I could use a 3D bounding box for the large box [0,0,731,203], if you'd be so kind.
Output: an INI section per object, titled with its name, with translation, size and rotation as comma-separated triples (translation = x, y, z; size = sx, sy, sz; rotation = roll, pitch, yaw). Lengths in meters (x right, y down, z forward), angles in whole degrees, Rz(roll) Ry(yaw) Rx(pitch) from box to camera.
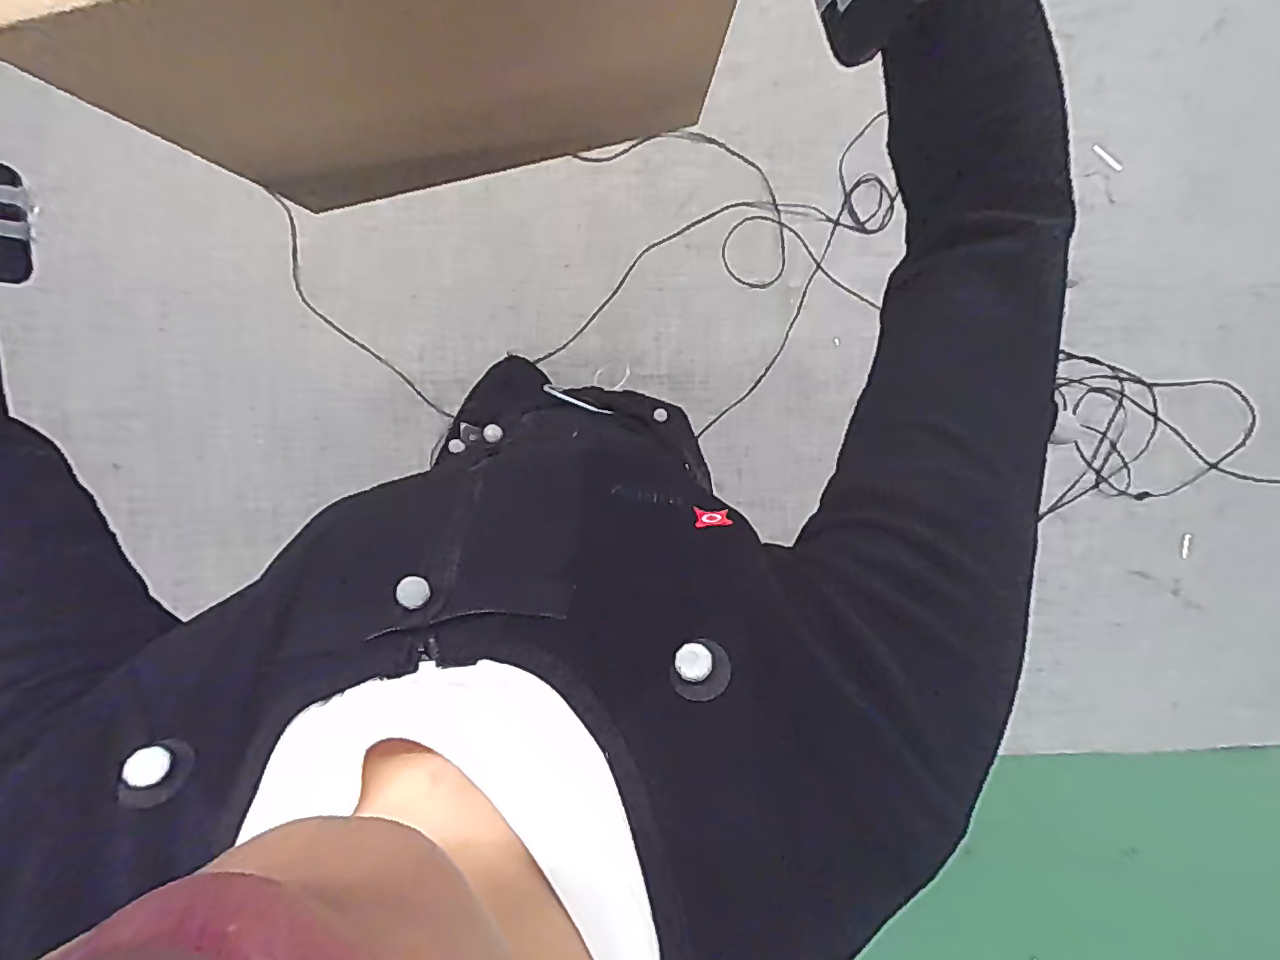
[large box]
translation = -0.161, -0.440, 0.375
size = 0.408, 0.320, 0.320
rotation = -13, 102, -1
